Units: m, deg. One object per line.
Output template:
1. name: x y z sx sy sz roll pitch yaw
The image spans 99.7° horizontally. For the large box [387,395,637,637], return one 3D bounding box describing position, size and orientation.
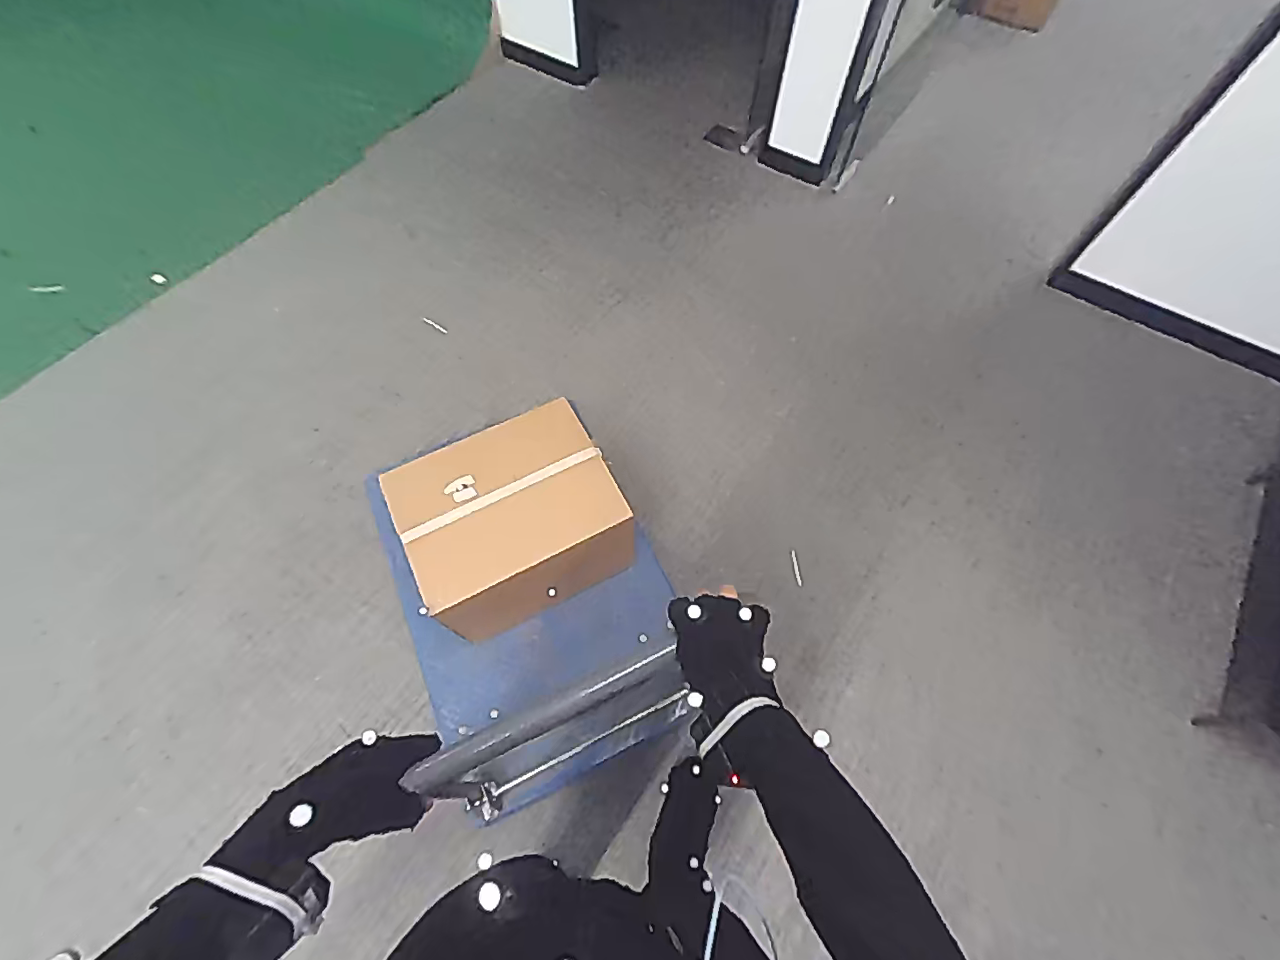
1. large box: -0.252 0.088 1.177 0.408 0.320 0.320 -26 67 -12
